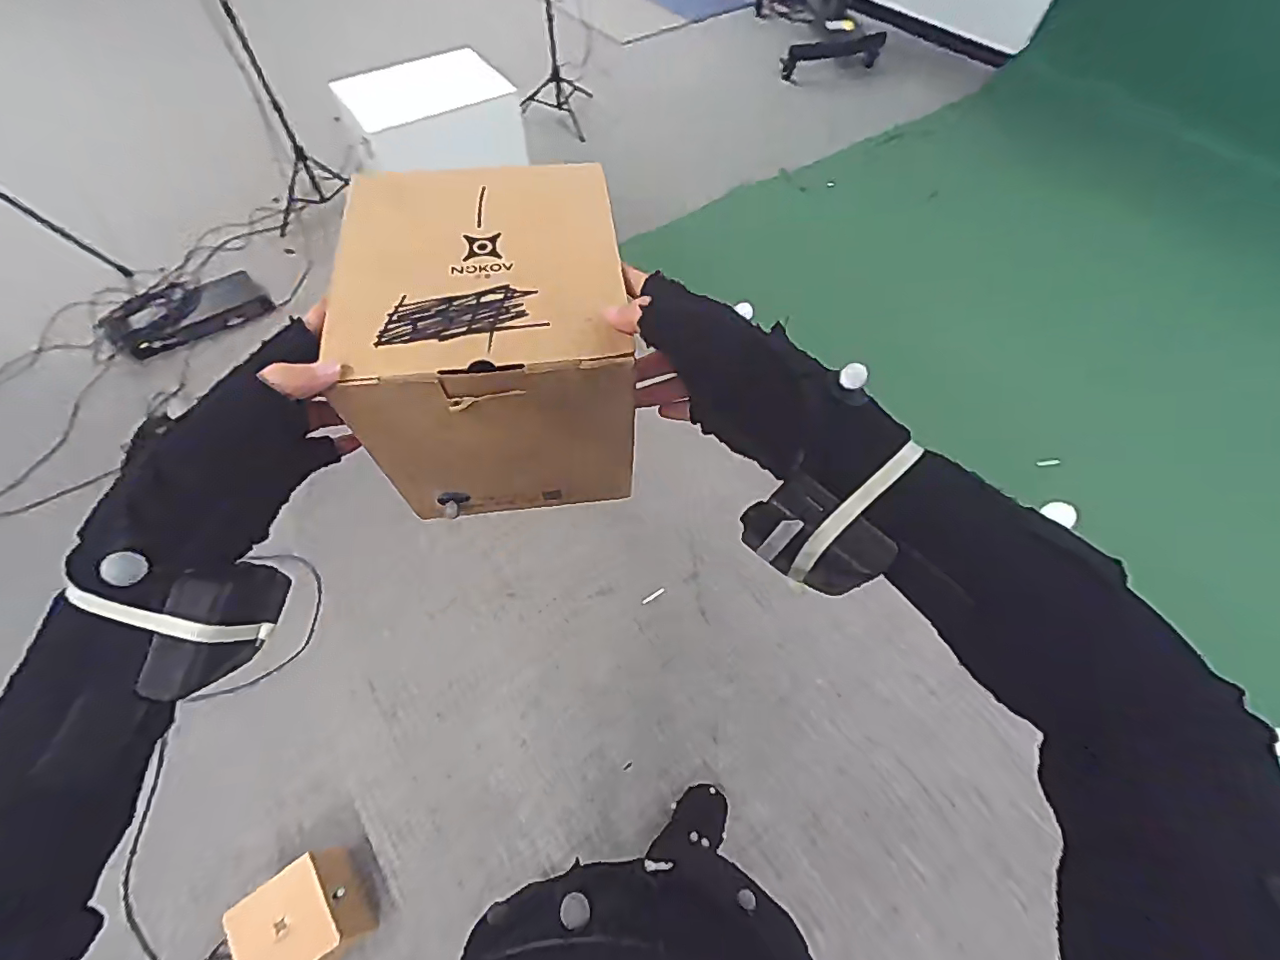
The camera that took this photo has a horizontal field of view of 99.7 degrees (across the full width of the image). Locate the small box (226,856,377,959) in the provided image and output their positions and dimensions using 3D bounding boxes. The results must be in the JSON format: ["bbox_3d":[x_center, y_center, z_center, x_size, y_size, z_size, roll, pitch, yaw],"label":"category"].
[{"bbox_3d":[-0.653,0.878,1.059,0.168,0.176,0.179,-33,64,-19],"label":"small box"}]
